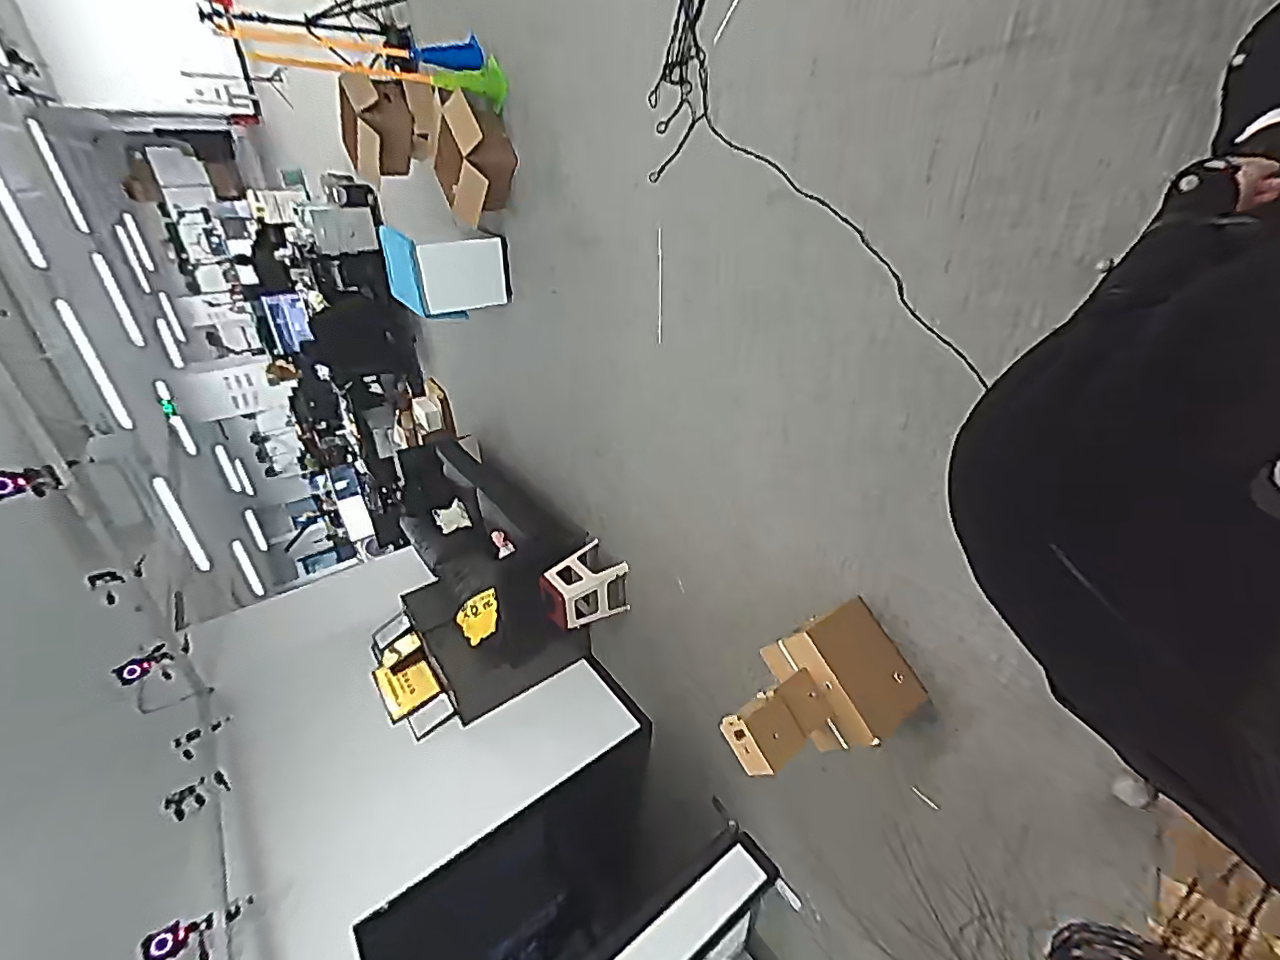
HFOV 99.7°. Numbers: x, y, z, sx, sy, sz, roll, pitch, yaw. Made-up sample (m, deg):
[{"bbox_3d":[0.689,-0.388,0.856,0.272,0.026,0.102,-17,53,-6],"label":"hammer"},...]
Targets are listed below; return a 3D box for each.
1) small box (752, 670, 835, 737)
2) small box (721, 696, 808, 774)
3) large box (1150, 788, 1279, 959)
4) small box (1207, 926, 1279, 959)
[{"bbox_3d":[0.529,0.778,1.867,0.179,0.176,0.168,57,148,20],"label":"small box"},{"bbox_3d":[0.406,0.829,1.767,0.179,0.176,0.168,57,148,15],"label":"small box"},{"bbox_3d":[1.391,0.960,1.131,0.408,0.320,0.320,17,123,51],"label":"large box"},{"bbox_3d":[1.176,1.004,1.013,0.168,0.176,0.179,25,128,49],"label":"small box"}]
